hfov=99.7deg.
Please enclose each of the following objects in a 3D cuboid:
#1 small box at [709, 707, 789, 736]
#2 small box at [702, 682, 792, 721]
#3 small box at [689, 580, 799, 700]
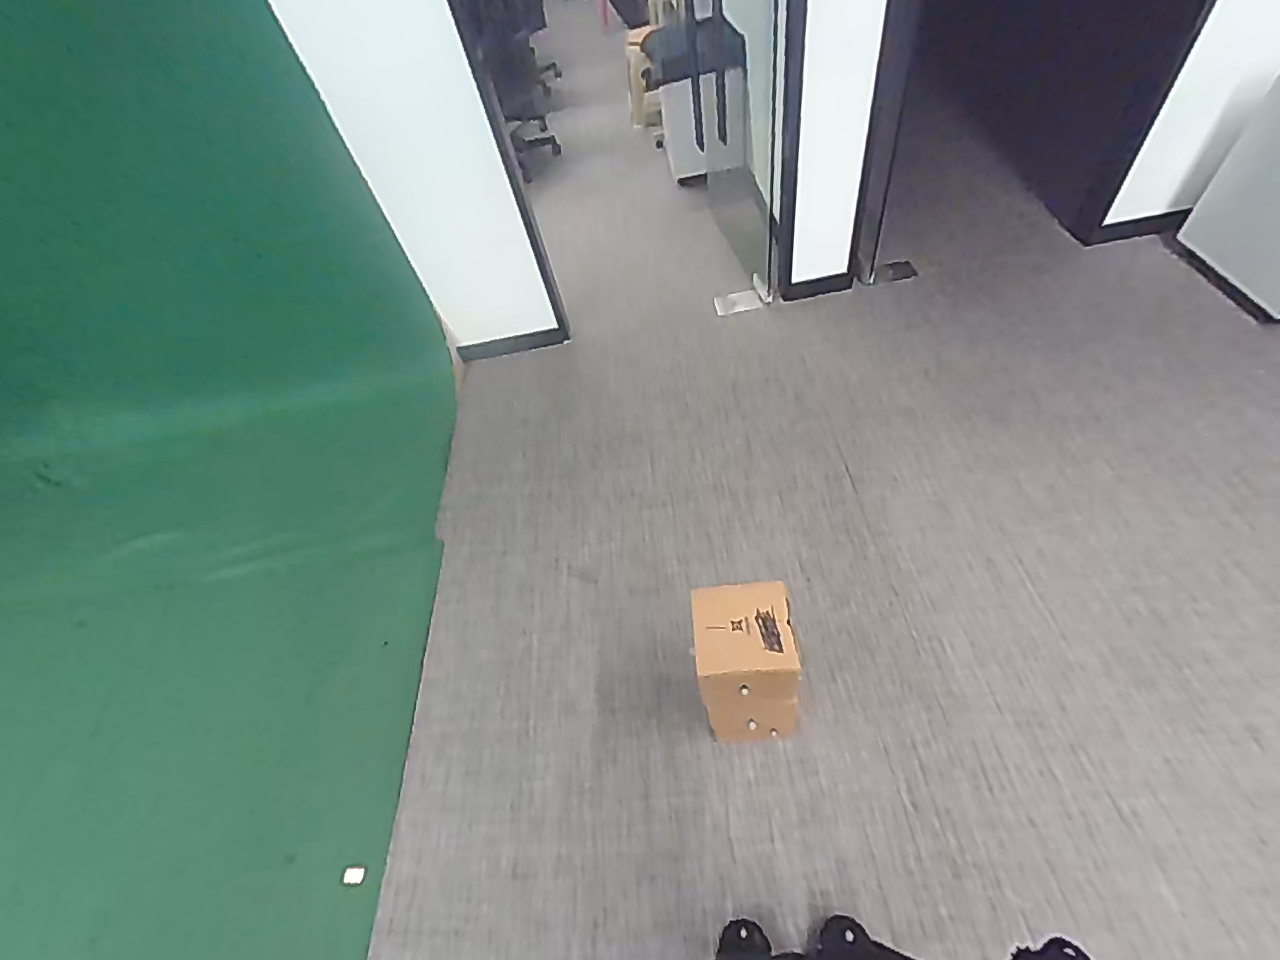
[{"bbox_3d":[0.248,0.500,1.287,0.179,0.176,0.168,-9,51,7],"label":"small box"},{"bbox_3d":[0.220,0.407,1.155,0.179,0.176,0.168,-4,52,8],"label":"small box"},{"bbox_3d":[0.190,0.307,1.028,0.179,0.176,0.168,-7,52,4],"label":"small box"}]
